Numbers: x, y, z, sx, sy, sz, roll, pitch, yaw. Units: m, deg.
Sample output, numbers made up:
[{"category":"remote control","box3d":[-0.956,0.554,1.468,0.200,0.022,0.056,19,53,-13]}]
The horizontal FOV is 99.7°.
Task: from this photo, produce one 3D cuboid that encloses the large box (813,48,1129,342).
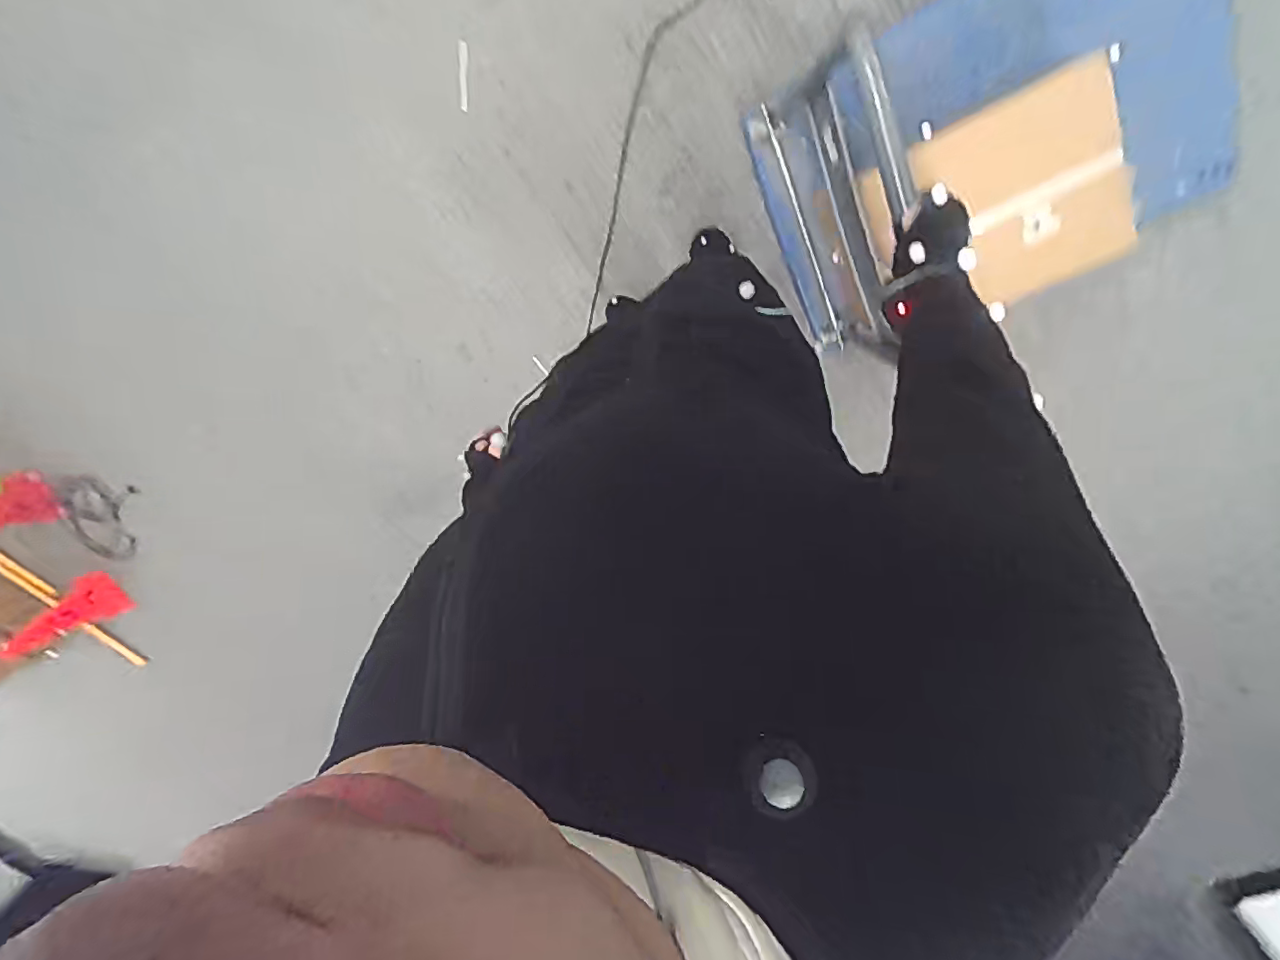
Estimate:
[{"category":"large box","box3d":[0.612,-0.524,1.068,0.408,0.320,0.320,-23,111,16]}]
